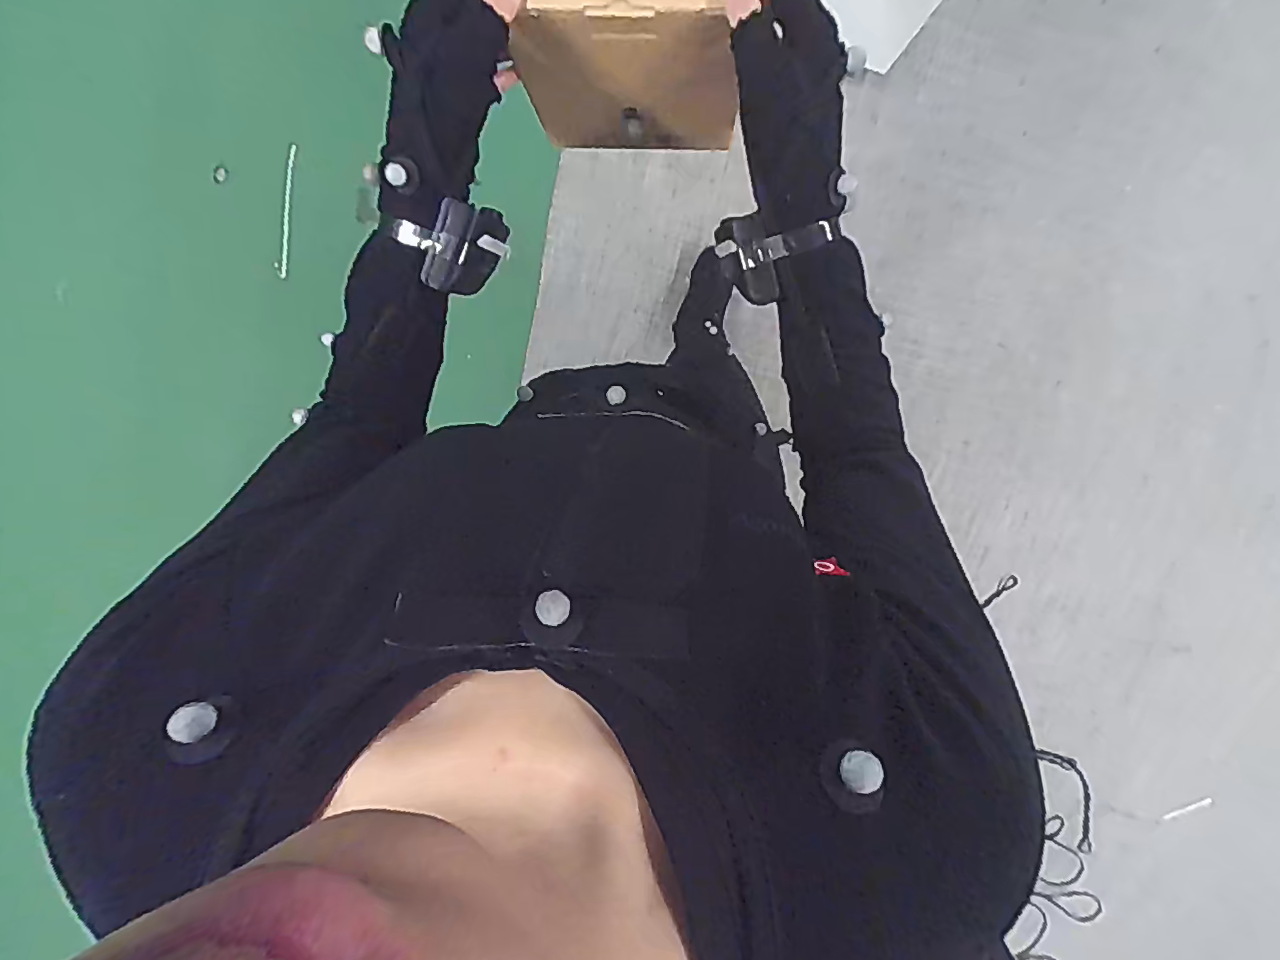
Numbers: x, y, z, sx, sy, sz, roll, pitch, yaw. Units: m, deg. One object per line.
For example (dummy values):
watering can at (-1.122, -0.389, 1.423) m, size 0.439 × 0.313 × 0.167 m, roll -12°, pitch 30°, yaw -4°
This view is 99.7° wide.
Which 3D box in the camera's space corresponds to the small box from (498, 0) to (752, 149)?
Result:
small box at (-0.001, -0.385, 0.404) m, size 0.168 × 0.176 × 0.179 m, roll 4°, pitch 96°, yaw 5°
